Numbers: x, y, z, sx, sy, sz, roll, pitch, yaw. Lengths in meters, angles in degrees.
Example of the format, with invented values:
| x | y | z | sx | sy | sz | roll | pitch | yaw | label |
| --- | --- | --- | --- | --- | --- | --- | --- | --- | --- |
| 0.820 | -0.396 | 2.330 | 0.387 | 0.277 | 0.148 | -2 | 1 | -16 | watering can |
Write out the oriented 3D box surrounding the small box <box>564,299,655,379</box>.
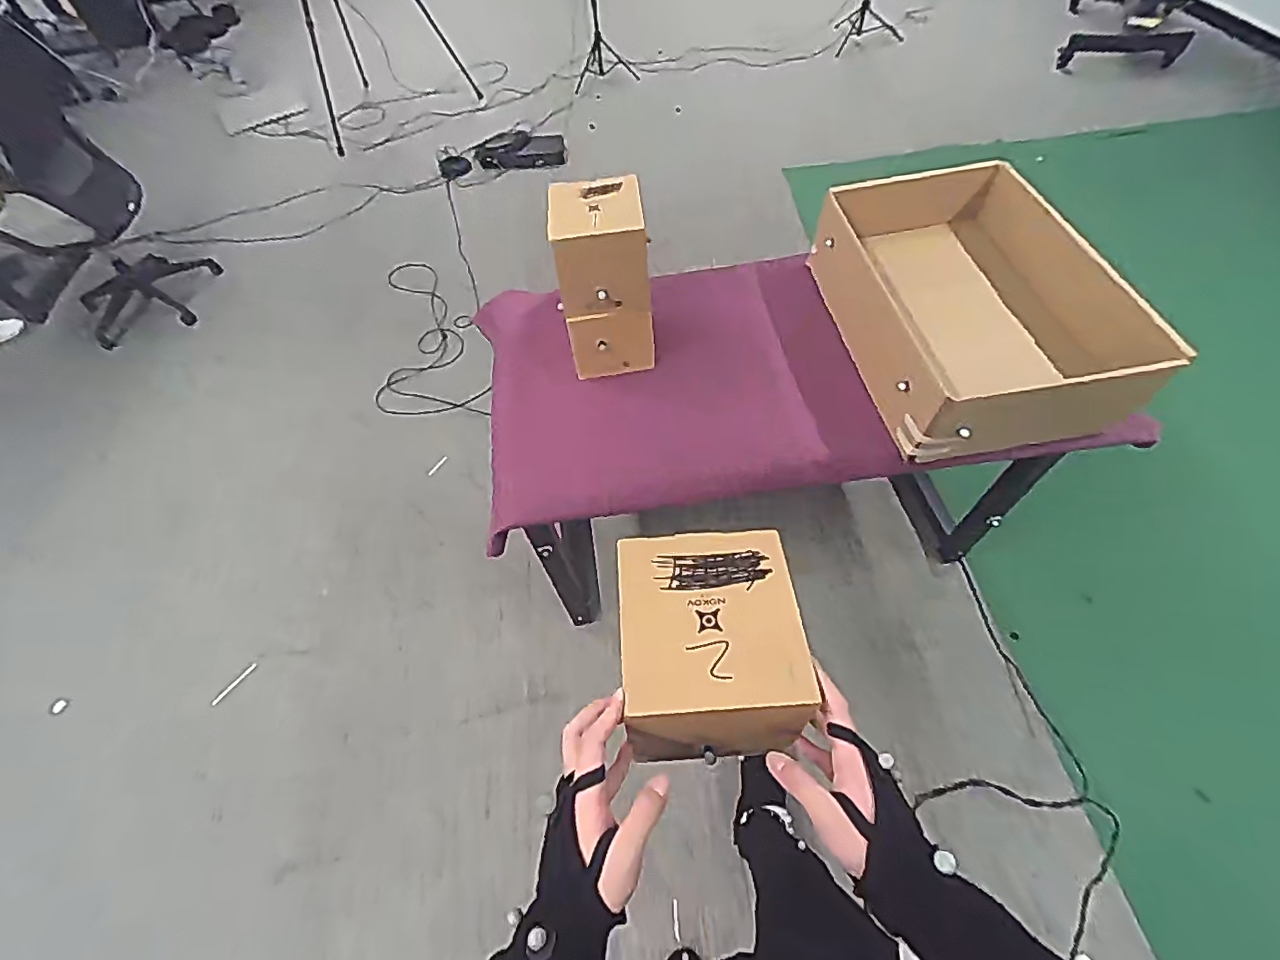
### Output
| x | y | z | sx | sy | sz | roll | pitch | yaw | label |
| --- | --- | --- | --- | --- | --- | --- | --- | --- | --- |
| -0.065 | -0.333 | 1.149 | 0.168 | 0.176 | 0.179 | -10 | 56 | -1 | small box |

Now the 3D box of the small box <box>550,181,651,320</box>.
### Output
| x | y | z | sx | sy | sz | roll | pitch | yaw | label |
| --- | --- | --- | --- | --- | --- | --- | --- | --- | --- |
| -0.070 | -0.427 | 1.014 | 0.168 | 0.176 | 0.179 | -6 | 57 | 1 | small box |
